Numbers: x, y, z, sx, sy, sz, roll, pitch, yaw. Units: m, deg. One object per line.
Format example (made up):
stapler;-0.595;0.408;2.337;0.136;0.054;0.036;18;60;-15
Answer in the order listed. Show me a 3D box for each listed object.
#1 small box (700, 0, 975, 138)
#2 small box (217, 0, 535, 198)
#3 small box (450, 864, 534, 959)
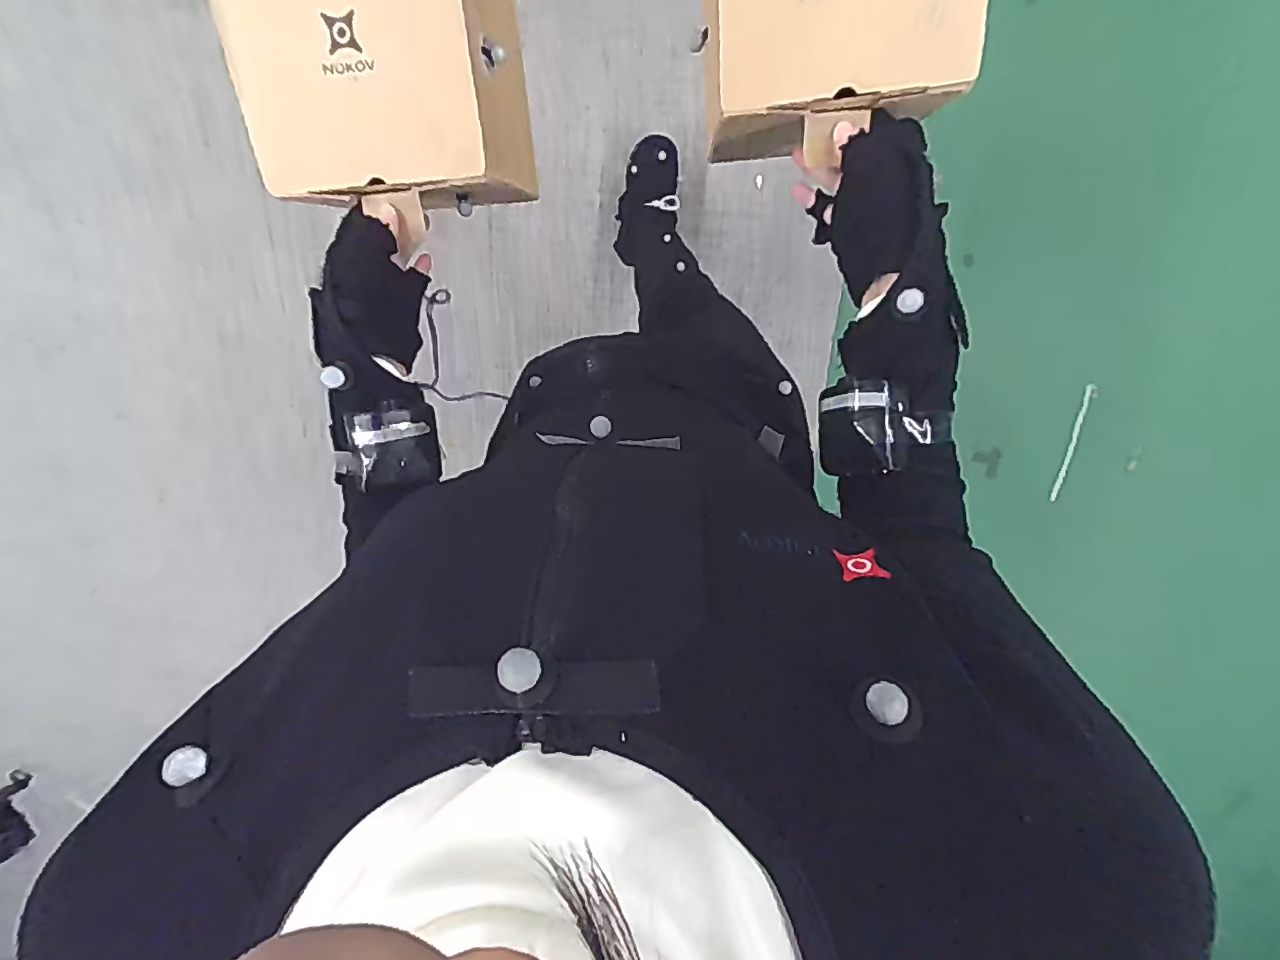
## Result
small box;0.131;-0.373;0.403;0.168;0.176;0.179;-3;111;5
small box;-0.188;-0.330;0.428;0.168;0.176;0.179;-4;112;3
small box;-0.394;1.175;1.452;0.179;0.176;0.168;8;105;-3
